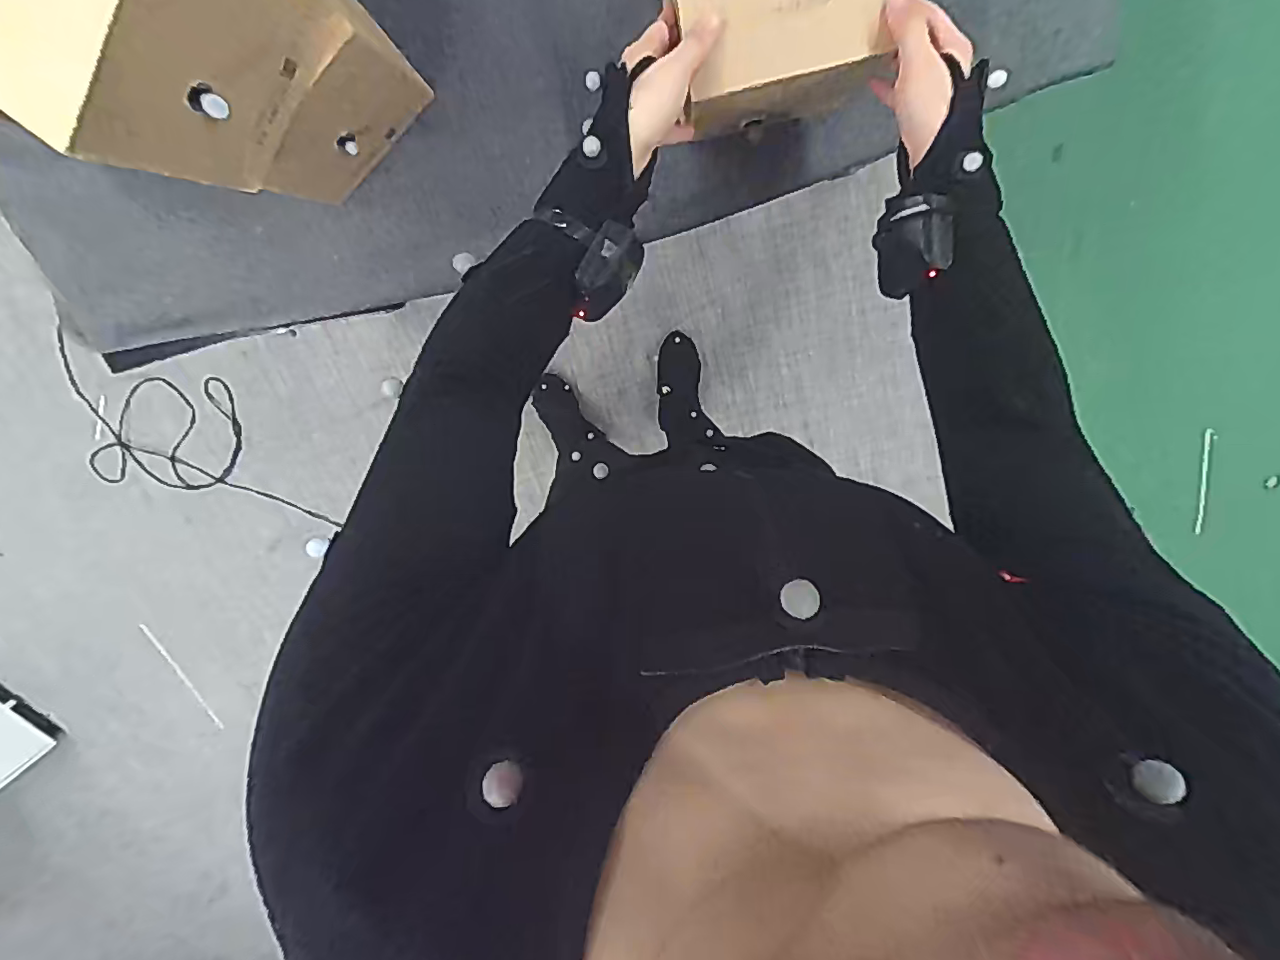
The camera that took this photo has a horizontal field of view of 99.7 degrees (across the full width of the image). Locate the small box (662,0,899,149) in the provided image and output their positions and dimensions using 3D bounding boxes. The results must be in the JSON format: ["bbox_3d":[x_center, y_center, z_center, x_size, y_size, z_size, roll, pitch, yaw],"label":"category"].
[{"bbox_3d":[0.108,-0.419,0.472,0.168,0.176,0.179,-10,111,8],"label":"small box"}]

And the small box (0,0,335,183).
[{"bbox_3d":[-0.345,-0.324,0.351,0.179,0.176,0.168,38,108,-11],"label":"small box"}]

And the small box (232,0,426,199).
[{"bbox_3d":[-0.337,-0.389,0.500,0.168,0.176,0.179,-38,105,14],"label":"small box"}]
